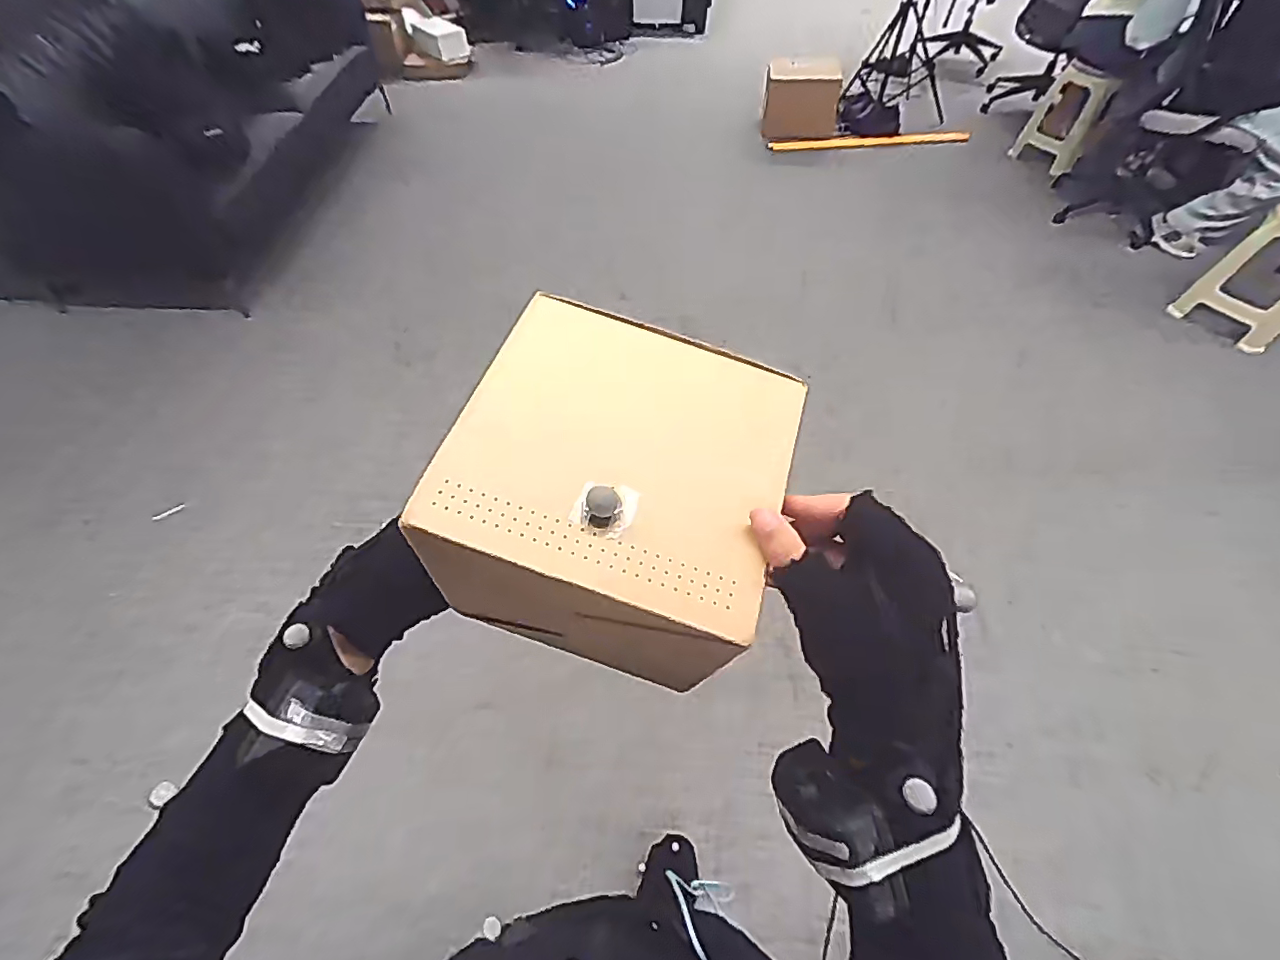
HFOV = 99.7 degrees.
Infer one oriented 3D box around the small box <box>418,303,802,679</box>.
[{"bbox_3d":[-0.014,0.019,0.368,0.179,0.168,0.176,19,60,3],"label":"small box"}]
